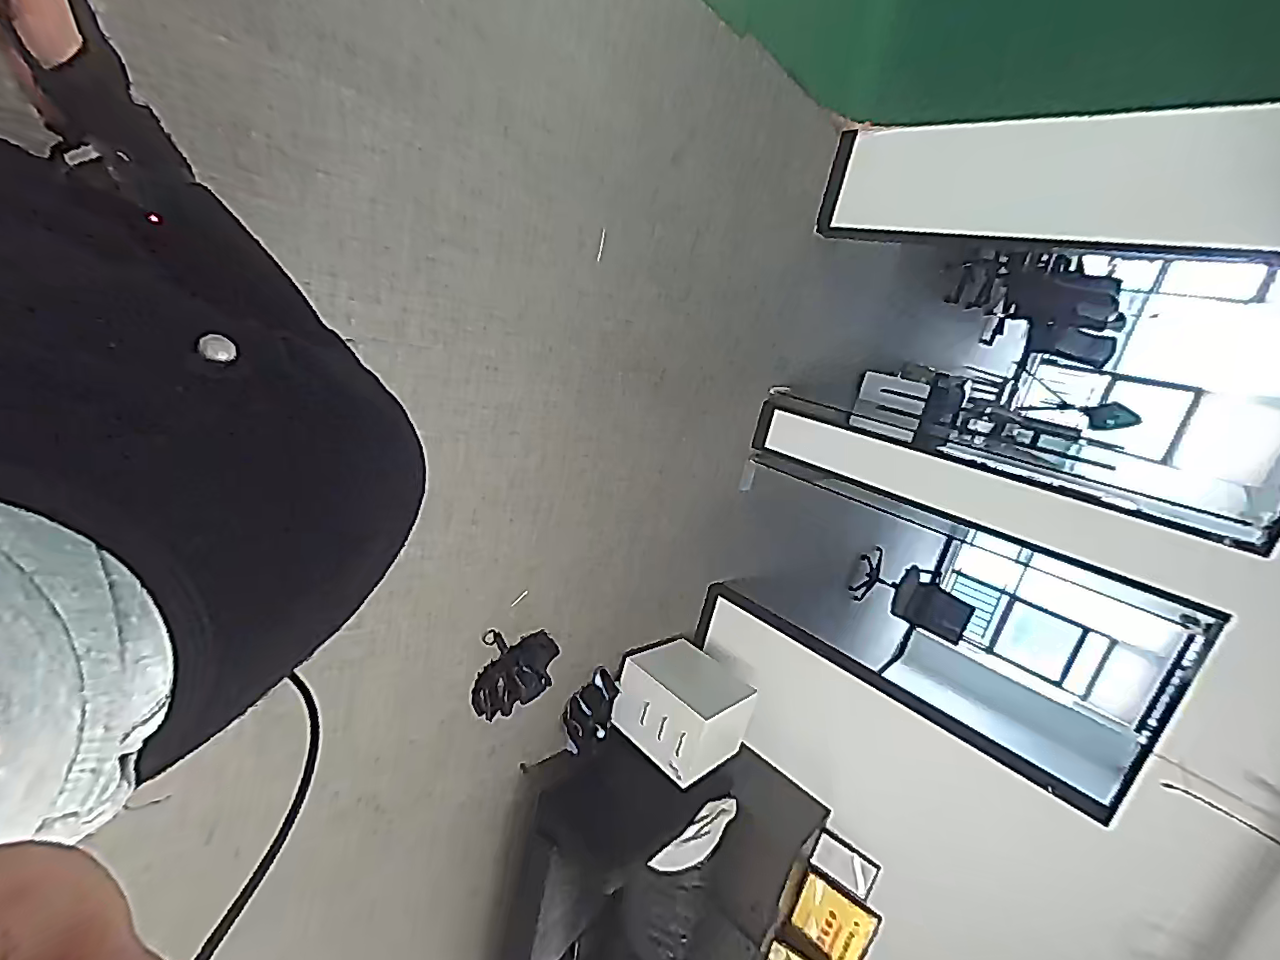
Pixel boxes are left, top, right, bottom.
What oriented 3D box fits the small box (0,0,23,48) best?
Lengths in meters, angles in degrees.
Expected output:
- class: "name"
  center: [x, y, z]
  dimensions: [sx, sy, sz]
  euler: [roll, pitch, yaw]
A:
- class: "small box"
  center: [-0.462, -0.342, 0.258]
  dimensions: [0.179, 0.176, 0.168]
  euler: [-14, 115, -36]
